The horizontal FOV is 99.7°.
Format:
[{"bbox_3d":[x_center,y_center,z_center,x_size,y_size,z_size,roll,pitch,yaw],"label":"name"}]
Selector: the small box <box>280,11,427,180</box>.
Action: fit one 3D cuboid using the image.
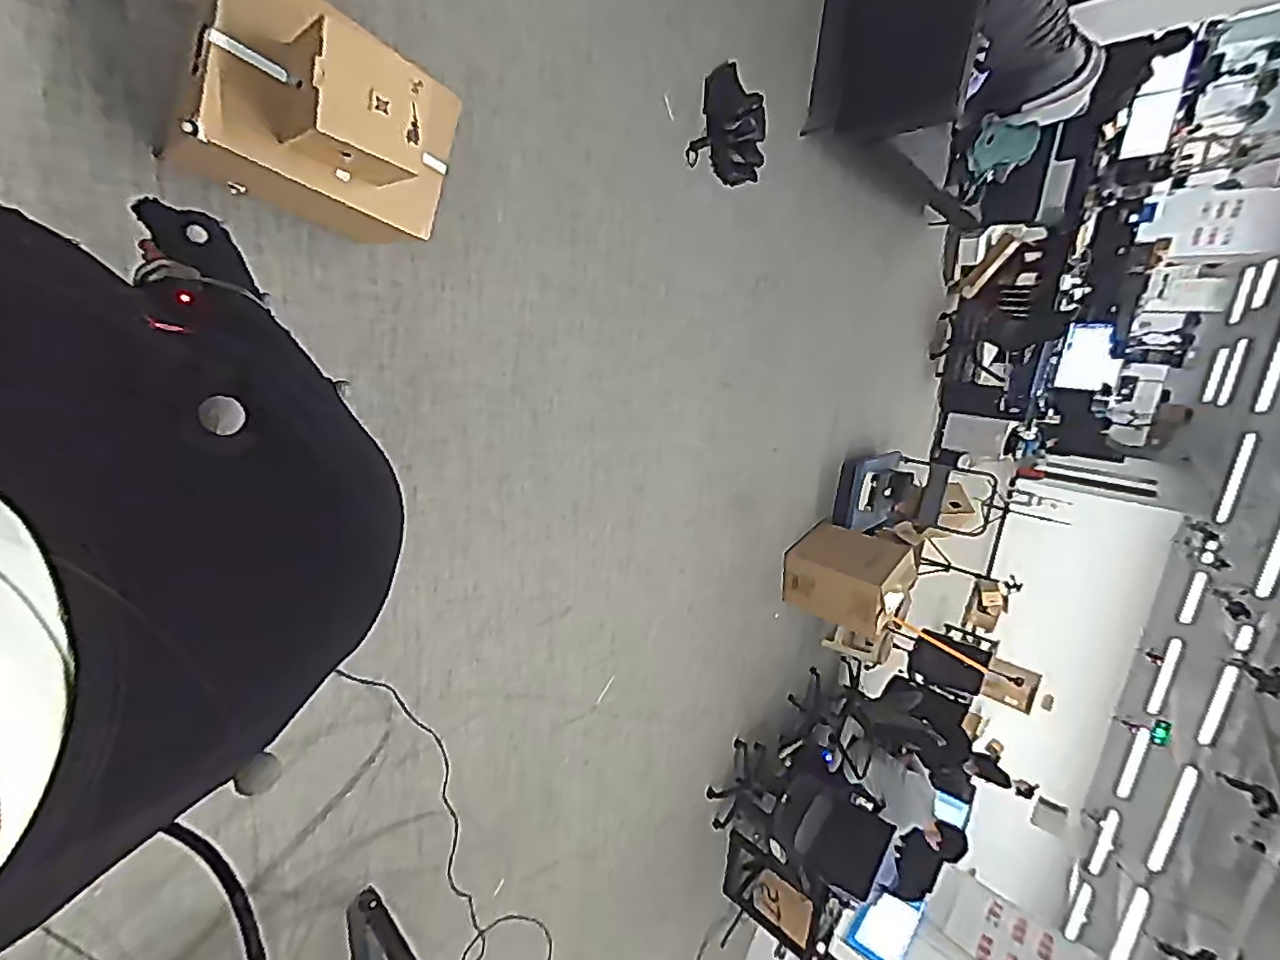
[{"bbox_3d":[-0.496,-0.640,0.931,0.179,0.176,0.168,0,104,-49],"label":"small box"}]
